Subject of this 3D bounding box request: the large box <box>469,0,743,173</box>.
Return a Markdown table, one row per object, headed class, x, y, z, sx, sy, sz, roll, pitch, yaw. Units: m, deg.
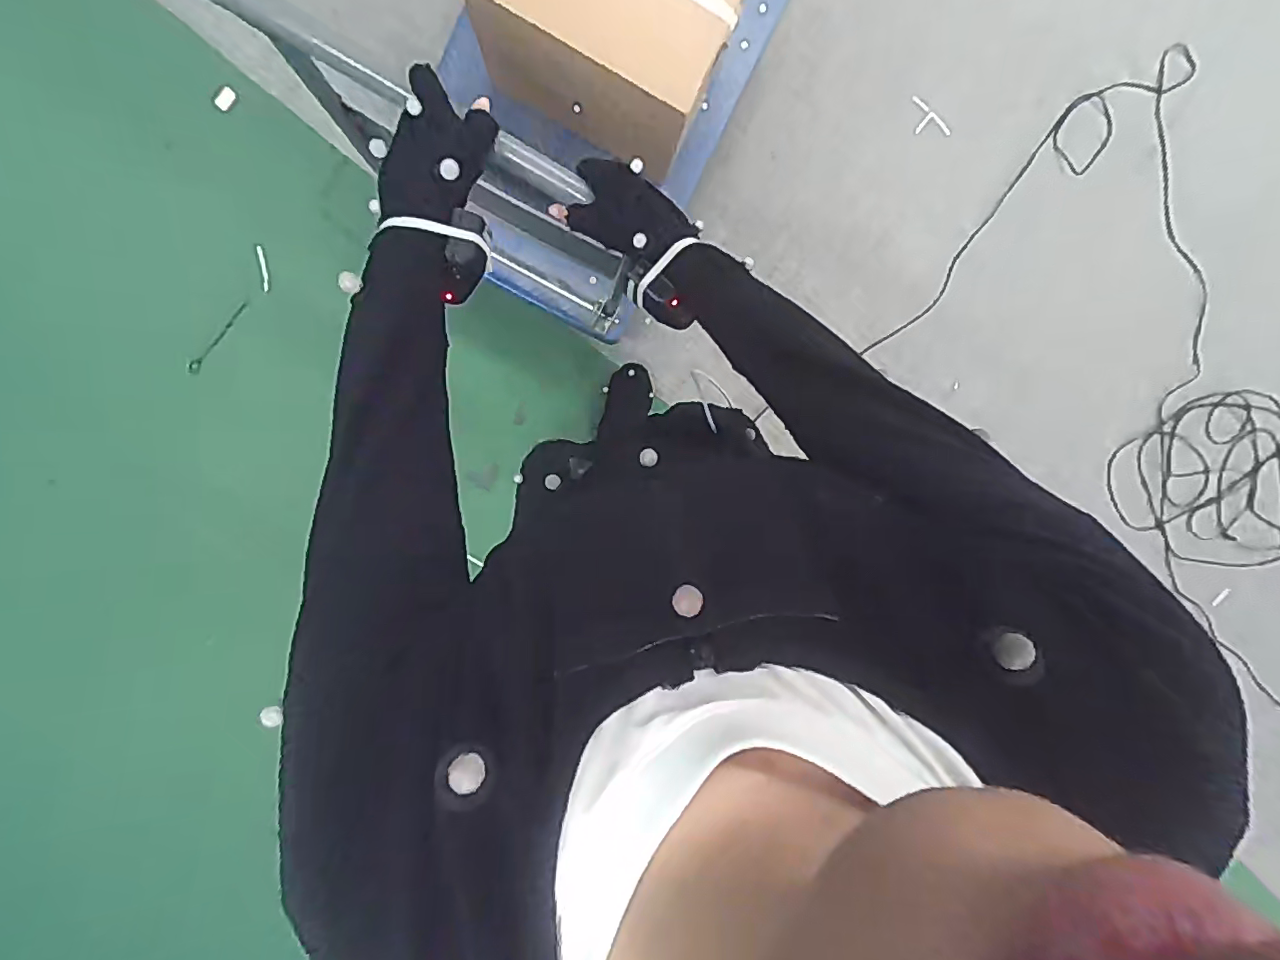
| class | x | y | z | sx | sy | sz | roll | pitch | yaw |
| --- | --- | --- | --- | --- | --- | --- | --- | --- | --- |
| large box | -0.042 | -0.851 | 0.989 | 0.408 | 0.320 | 0.320 | 25 | 97 | -9 |
